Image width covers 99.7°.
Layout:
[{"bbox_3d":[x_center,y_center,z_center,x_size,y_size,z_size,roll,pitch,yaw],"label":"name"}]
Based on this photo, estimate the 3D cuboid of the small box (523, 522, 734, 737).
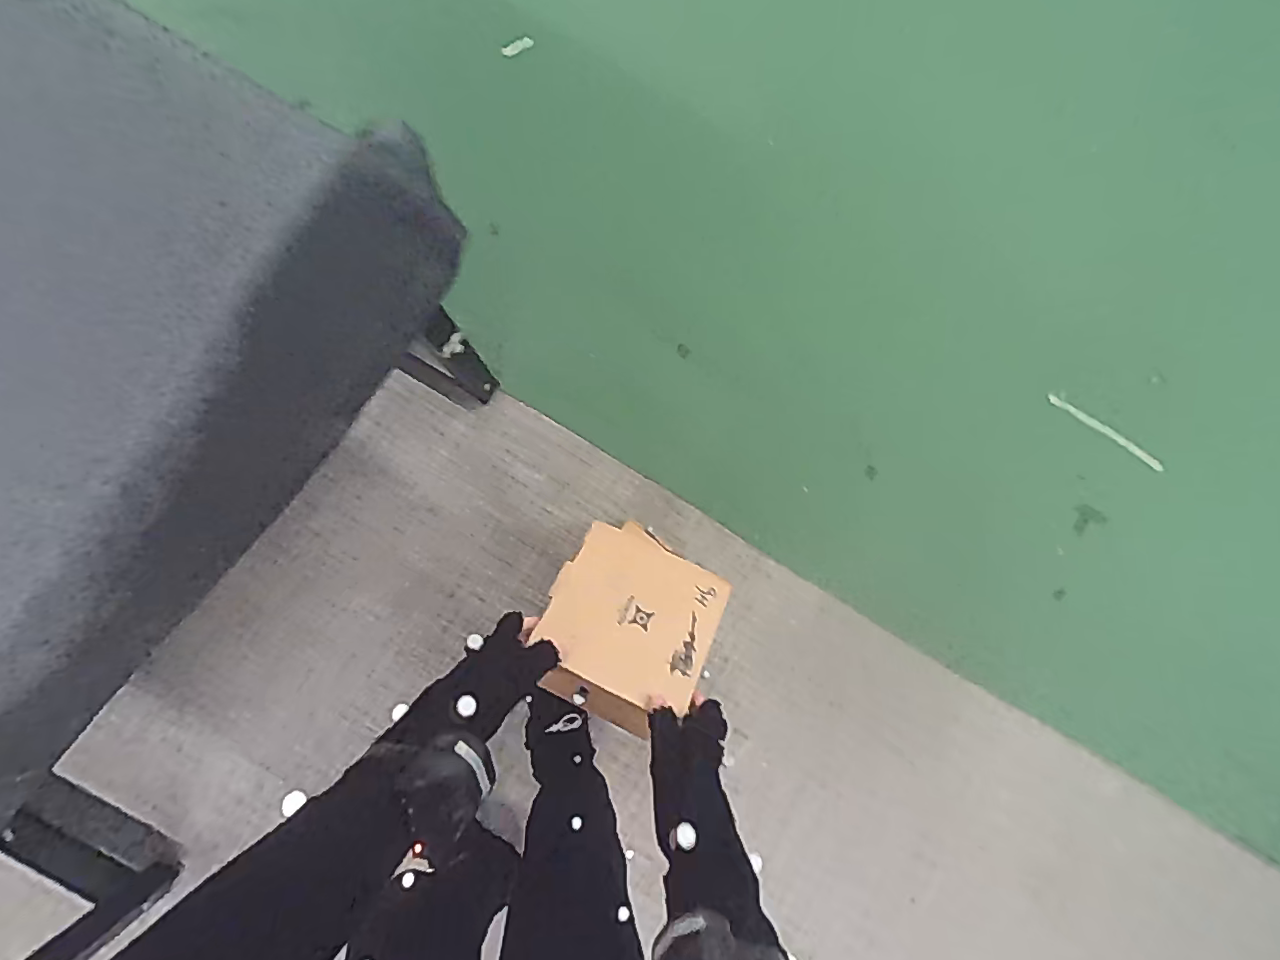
[{"bbox_3d":[-0.018,0.184,0.634,0.179,0.176,0.168,26,60,6],"label":"small box"}]
